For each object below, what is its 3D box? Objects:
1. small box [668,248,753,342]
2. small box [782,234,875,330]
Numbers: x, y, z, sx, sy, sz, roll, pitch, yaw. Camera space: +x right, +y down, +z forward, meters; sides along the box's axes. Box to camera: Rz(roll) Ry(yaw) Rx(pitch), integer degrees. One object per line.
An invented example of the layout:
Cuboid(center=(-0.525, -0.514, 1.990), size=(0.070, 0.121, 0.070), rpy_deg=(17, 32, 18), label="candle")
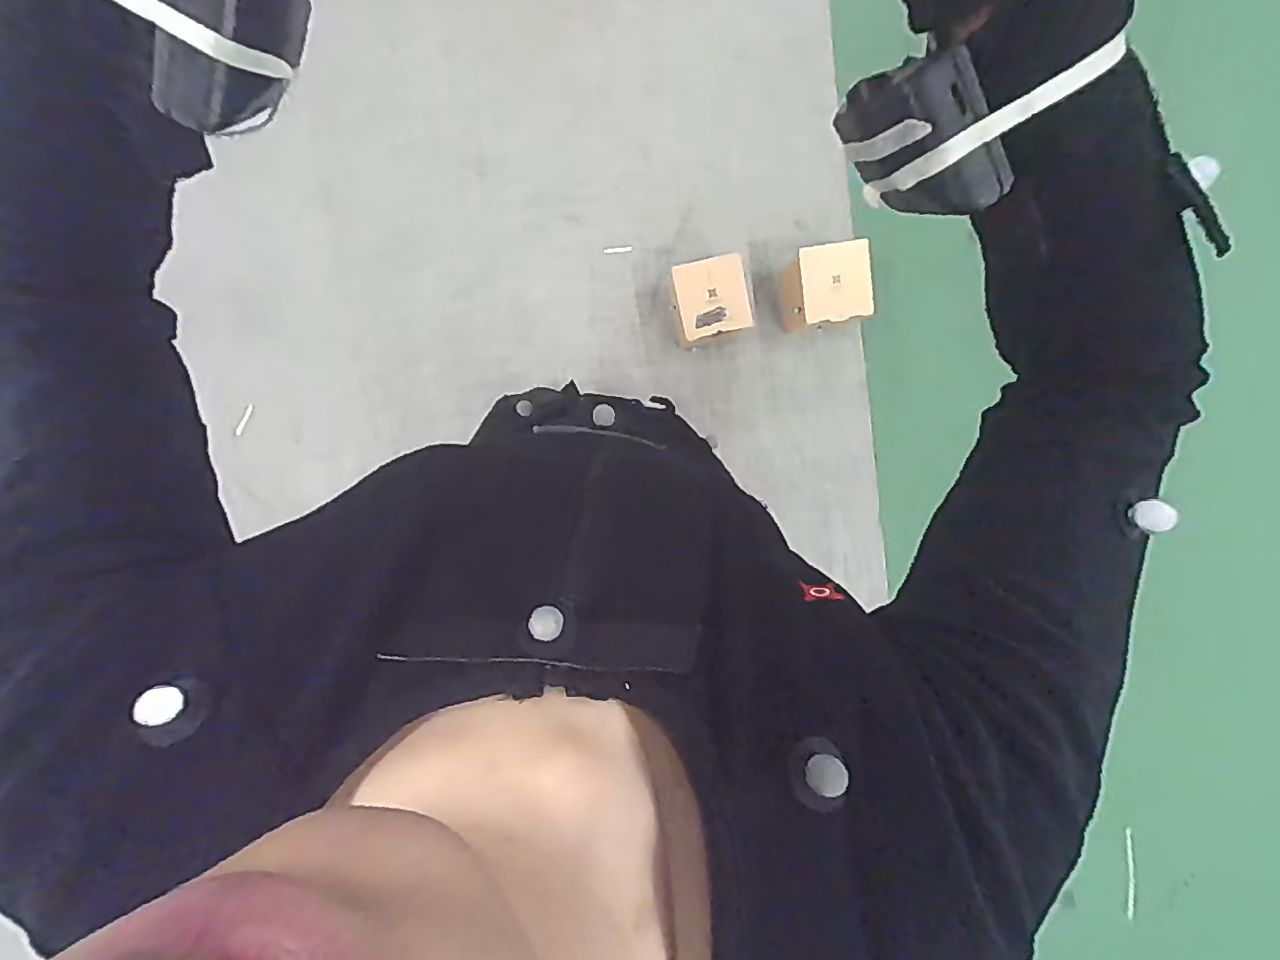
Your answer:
Cuboid(center=(0.168, -0.446, 1.336), size=(0.168, 0.176, 0.179), rpy_deg=(-12, 96, 0), label="small box")
Cuboid(center=(0.460, -0.482, 1.338), size=(0.168, 0.176, 0.179), rpy_deg=(-9, 98, 1), label="small box")
